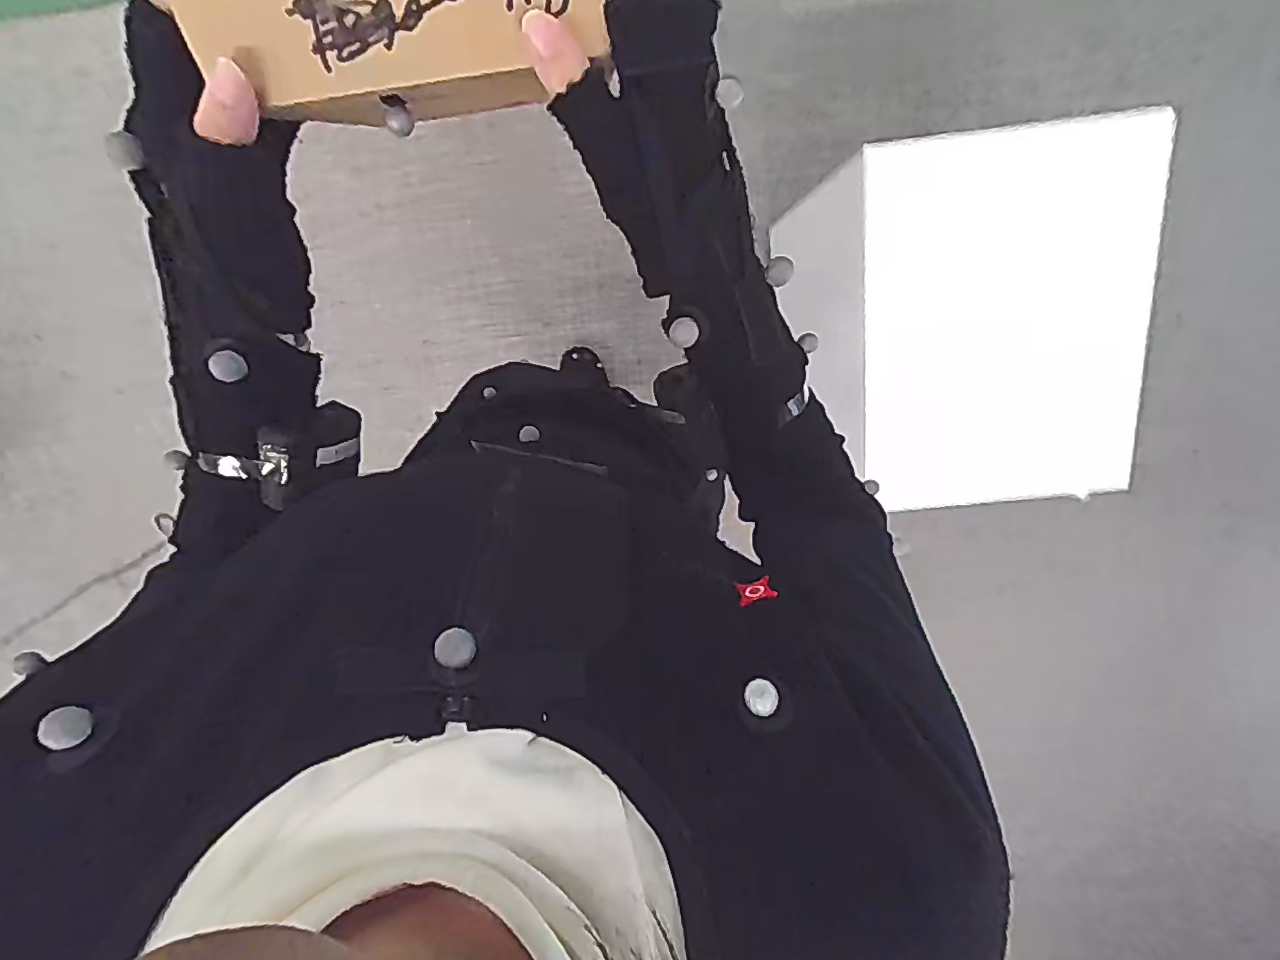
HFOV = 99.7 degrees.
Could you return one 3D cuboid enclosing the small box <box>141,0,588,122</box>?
[{"bbox_3d":[-0.119,-0.281,0.243,0.168,0.176,0.179,-9,121,1],"label":"small box"}]
